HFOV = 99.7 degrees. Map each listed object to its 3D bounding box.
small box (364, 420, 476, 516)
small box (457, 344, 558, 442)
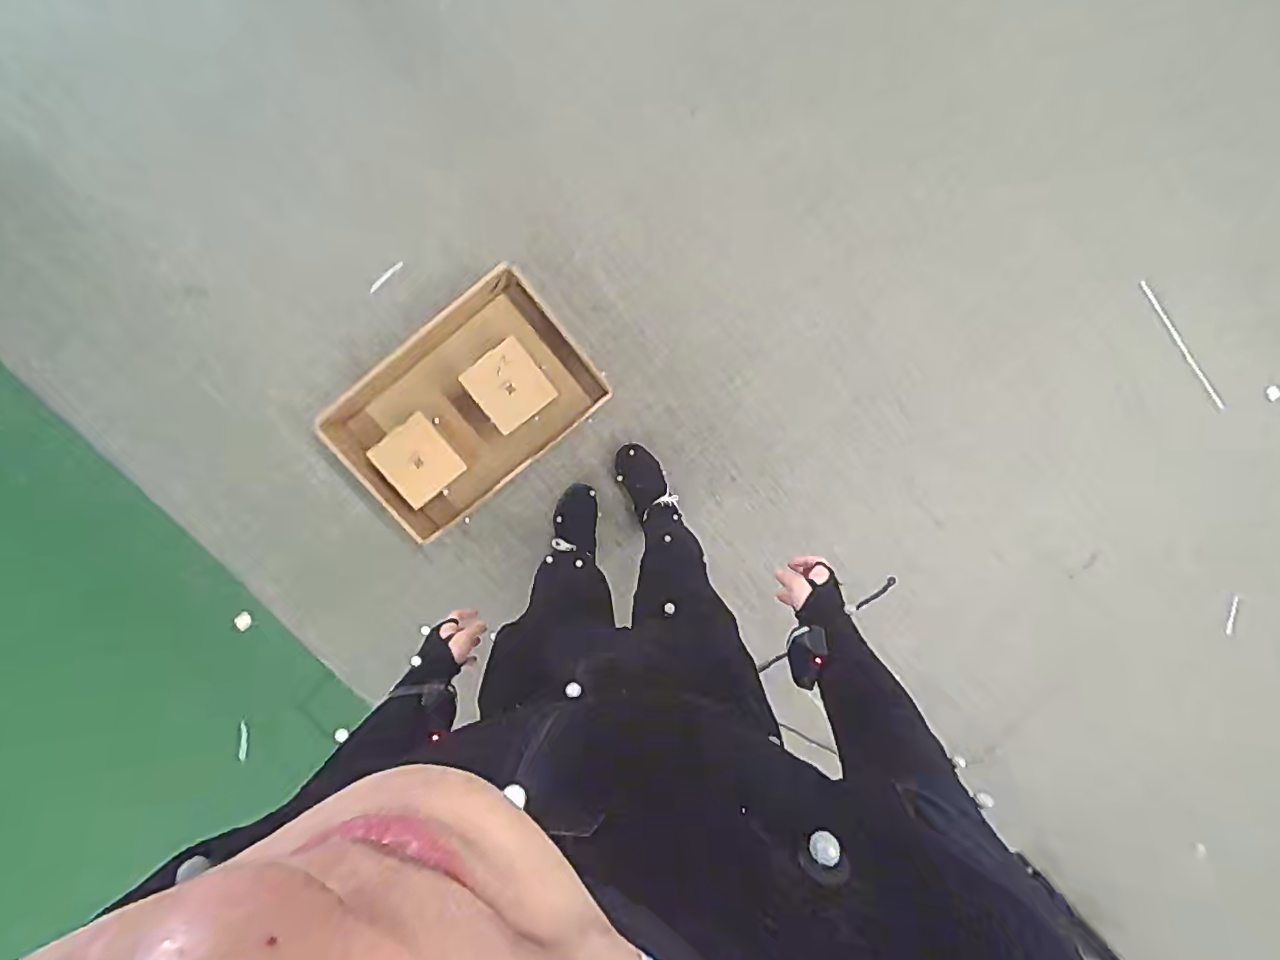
[{"bbox_3d":[-0.539,-0.039,1.355,0.168,0.176,0.179,-39,99,1],"label":"small box"},{"bbox_3d":[-0.319,-0.216,1.346,0.168,0.176,0.179,-37,99,1],"label":"small box"}]
